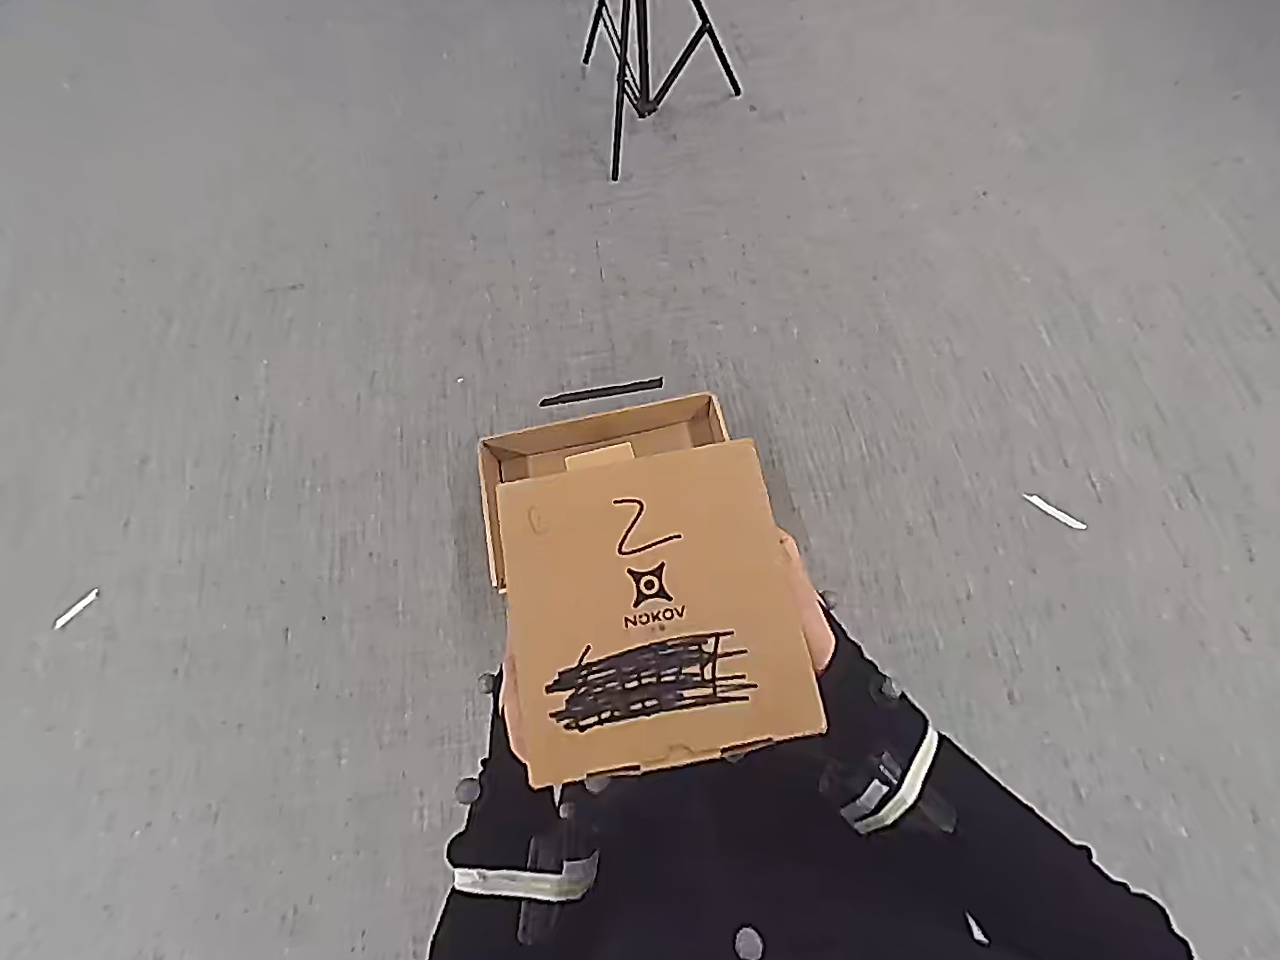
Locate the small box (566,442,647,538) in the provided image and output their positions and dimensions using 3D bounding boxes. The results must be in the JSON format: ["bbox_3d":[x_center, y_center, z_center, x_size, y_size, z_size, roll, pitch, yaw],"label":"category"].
[{"bbox_3d":[-0.080,0.030,1.352,0.168,0.176,0.179,-14,70,-2],"label":"small box"}]
